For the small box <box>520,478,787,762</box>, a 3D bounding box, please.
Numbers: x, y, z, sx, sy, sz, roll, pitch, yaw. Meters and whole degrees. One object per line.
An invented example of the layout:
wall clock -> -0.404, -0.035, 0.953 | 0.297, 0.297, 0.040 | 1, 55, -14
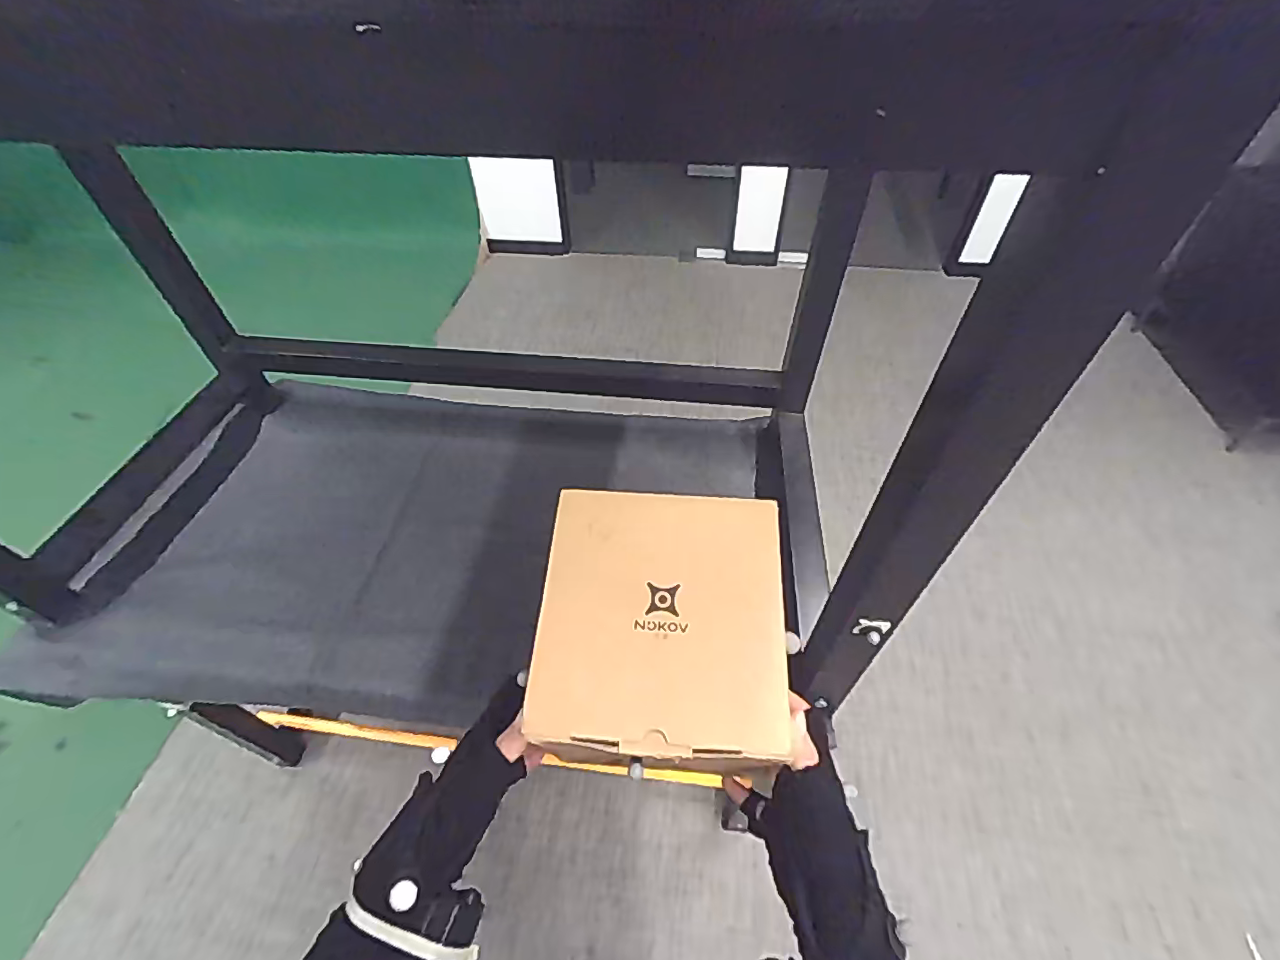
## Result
small box -> 0.014, 0.118, 0.435 | 0.168, 0.176, 0.179 | 3, 60, 3
